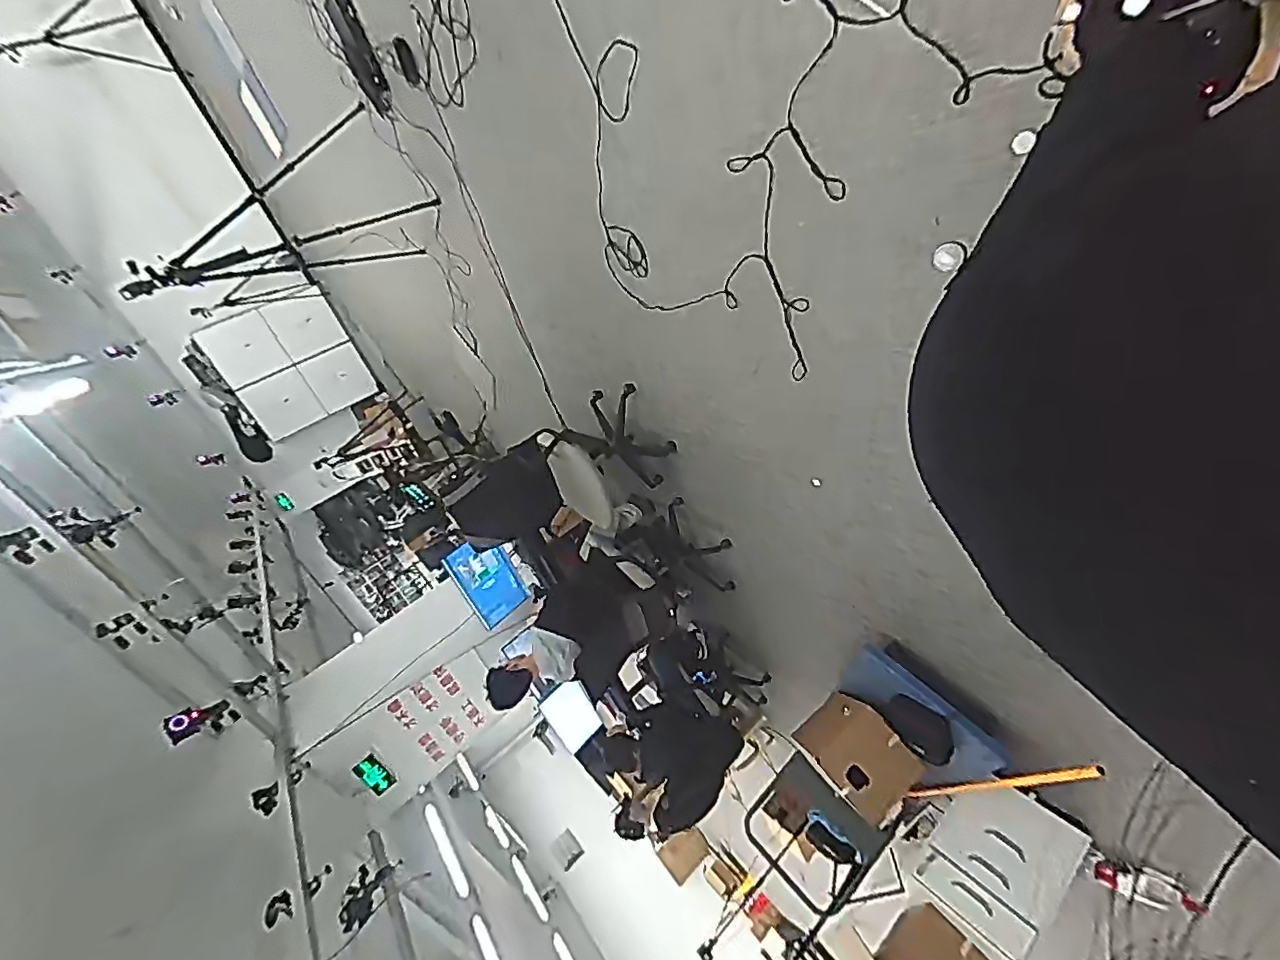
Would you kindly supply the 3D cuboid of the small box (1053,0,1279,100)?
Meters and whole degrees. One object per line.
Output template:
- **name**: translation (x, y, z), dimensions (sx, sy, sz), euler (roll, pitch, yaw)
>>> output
- **small box**: translation (0.523, -0.479, 0.494), dimensions (0.168, 0.179, 0.176), euler (32, 118, 38)
